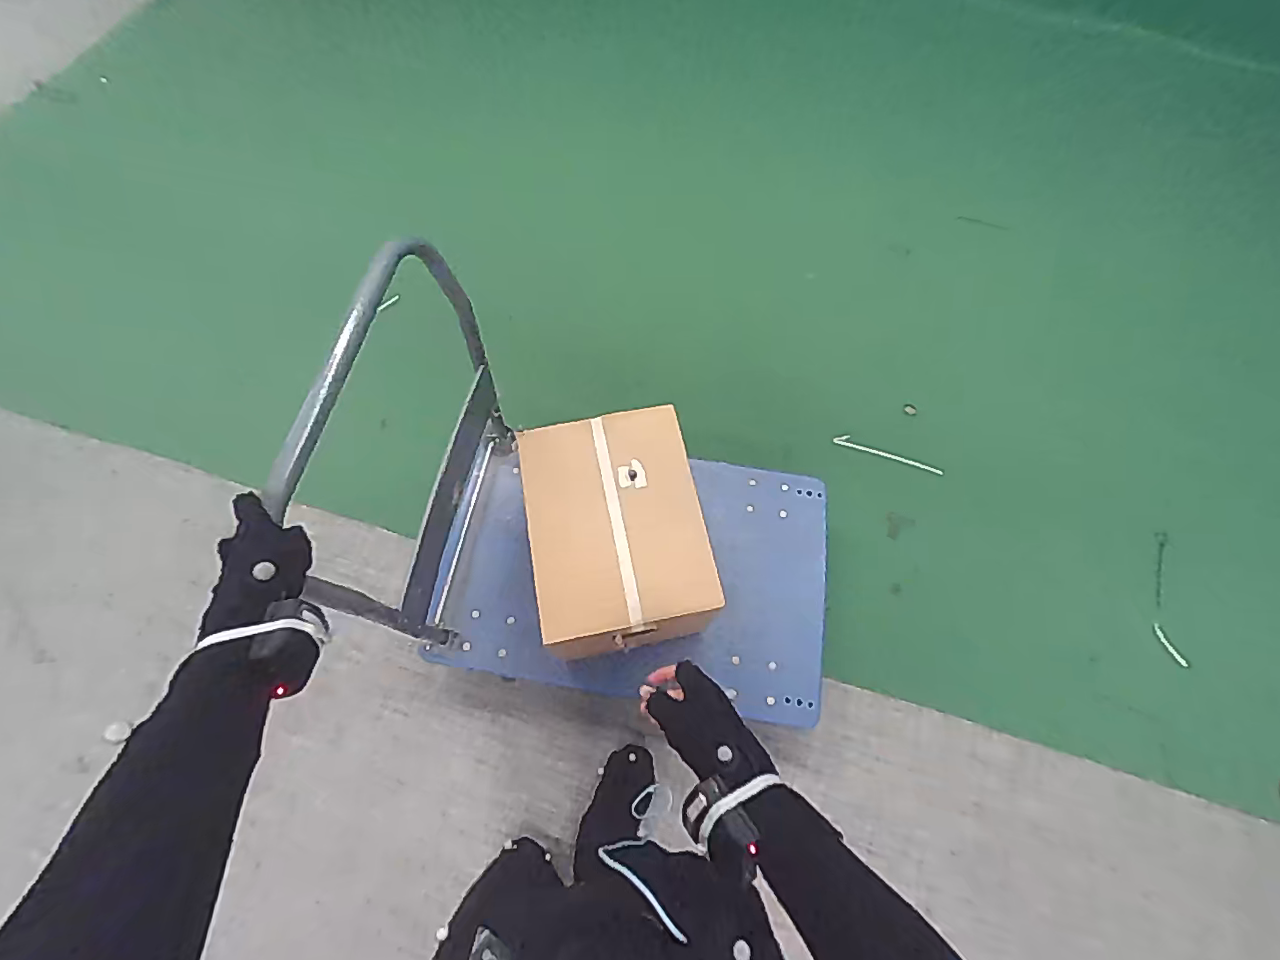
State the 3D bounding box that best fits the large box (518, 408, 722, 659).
[{"bbox_3d":[-0.046,0.121,1.114,0.320,0.320,0.408,-10,67,-5],"label":"large box"}]
